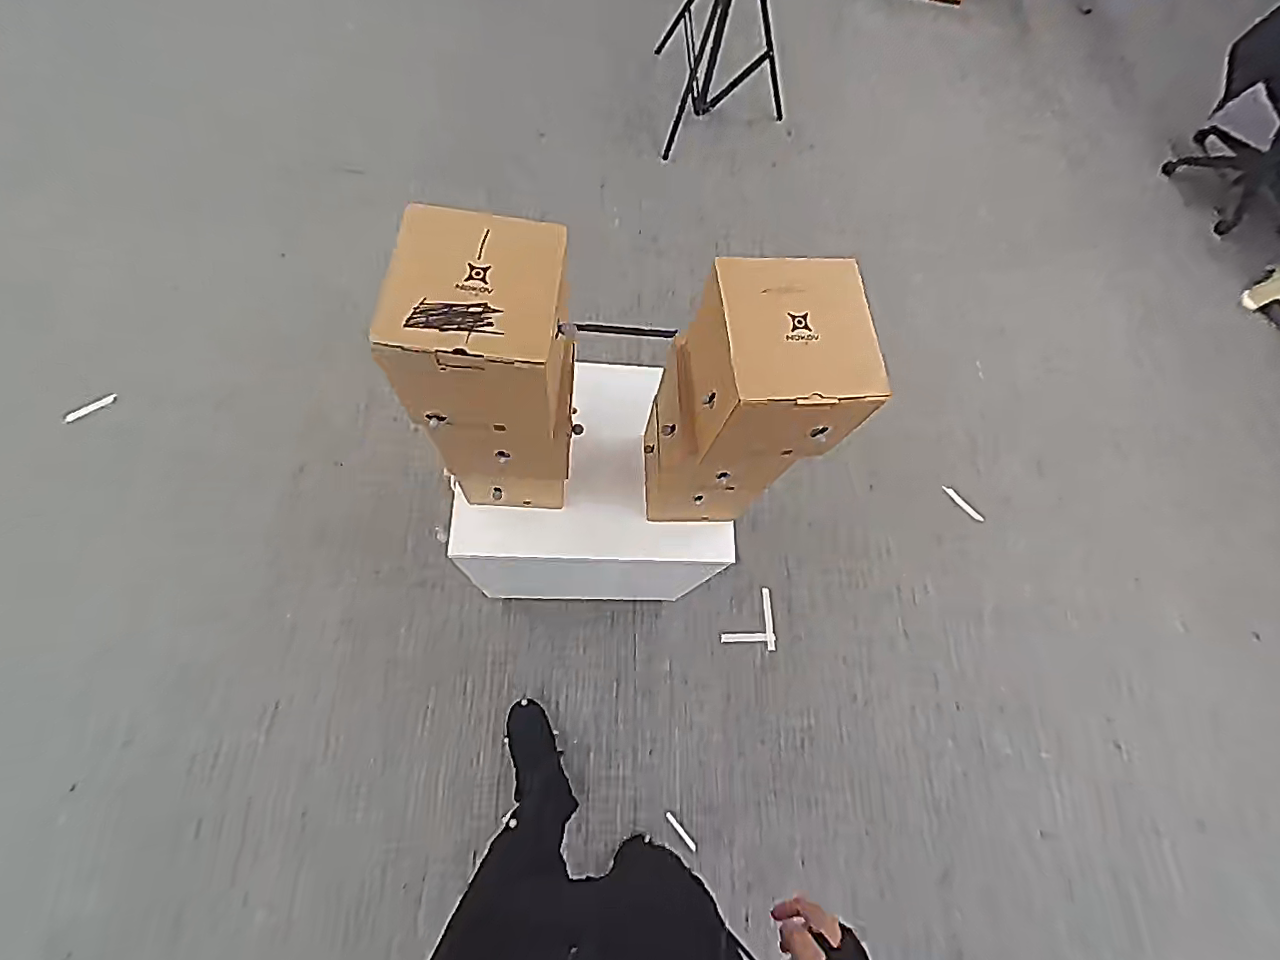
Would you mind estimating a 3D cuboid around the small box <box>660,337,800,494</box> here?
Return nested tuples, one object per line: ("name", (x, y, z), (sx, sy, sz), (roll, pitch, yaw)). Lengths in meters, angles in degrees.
("small box", (0.123, -0.085, 0.789), (0.168, 0.176, 0.179), (1, 70, -7))

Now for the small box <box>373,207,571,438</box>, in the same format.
("small box", (-0.168, -0.162, 0.602), (0.168, 0.176, 0.179), (6, 69, -6))

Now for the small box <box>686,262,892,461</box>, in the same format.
("small box", (0.158, -0.128, 0.635), (0.168, 0.176, 0.179), (-3, 70, -9))

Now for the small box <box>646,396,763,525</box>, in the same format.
("small box", (0.102, -0.029, 0.943), (0.168, 0.176, 0.179), (0, 70, -7))

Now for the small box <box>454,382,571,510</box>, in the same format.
("small box", (-0.204, -0.054, 0.912), (0.168, 0.176, 0.179), (4, 69, -7))
